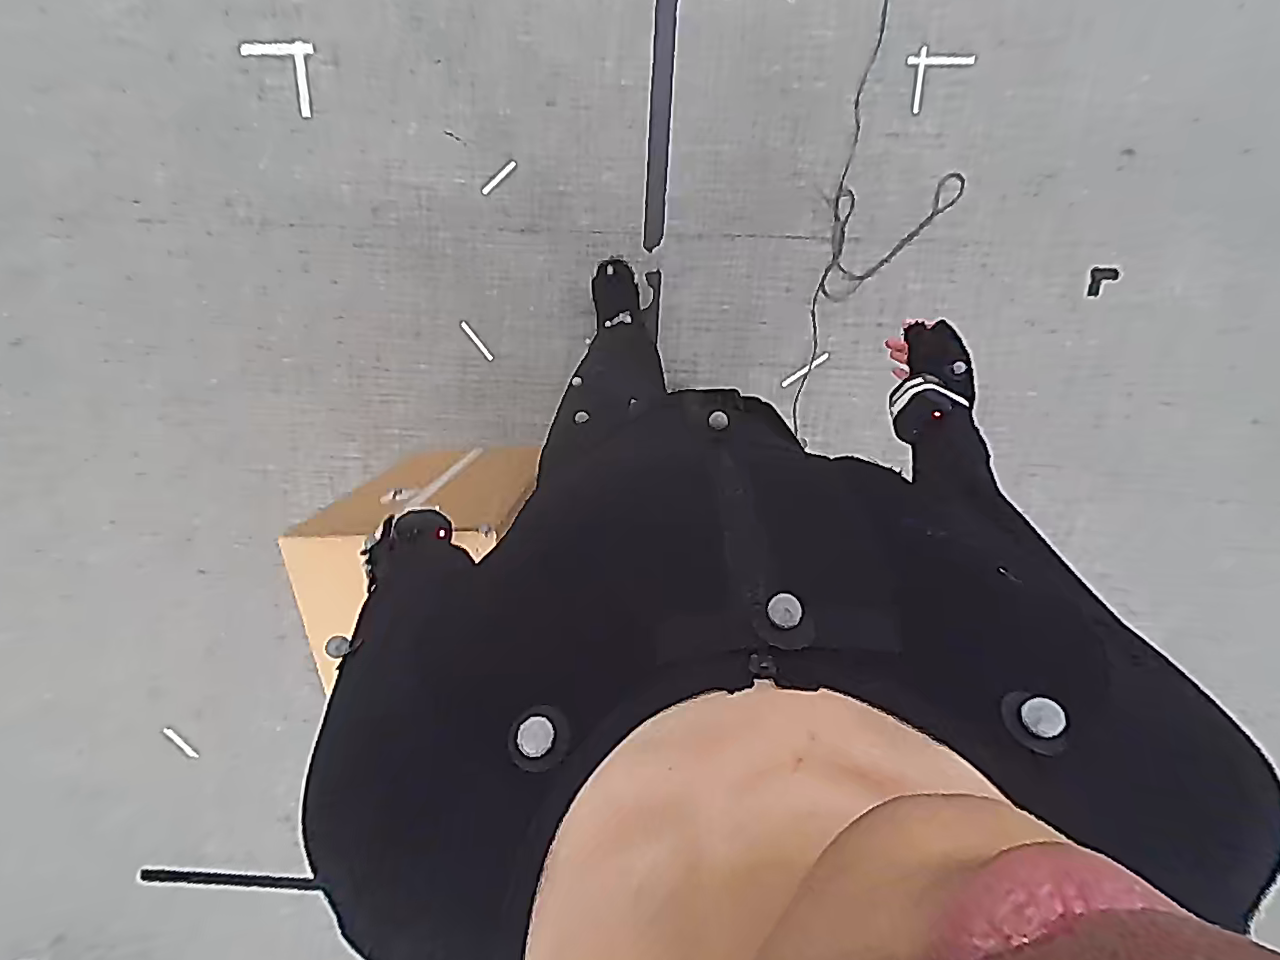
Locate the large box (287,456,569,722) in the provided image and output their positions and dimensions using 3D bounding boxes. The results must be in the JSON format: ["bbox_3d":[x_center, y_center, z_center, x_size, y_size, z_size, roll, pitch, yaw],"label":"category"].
[{"bbox_3d":[-0.324,0.166,0.975,0.320,0.408,0.320,-4,108,5],"label":"large box"}]
